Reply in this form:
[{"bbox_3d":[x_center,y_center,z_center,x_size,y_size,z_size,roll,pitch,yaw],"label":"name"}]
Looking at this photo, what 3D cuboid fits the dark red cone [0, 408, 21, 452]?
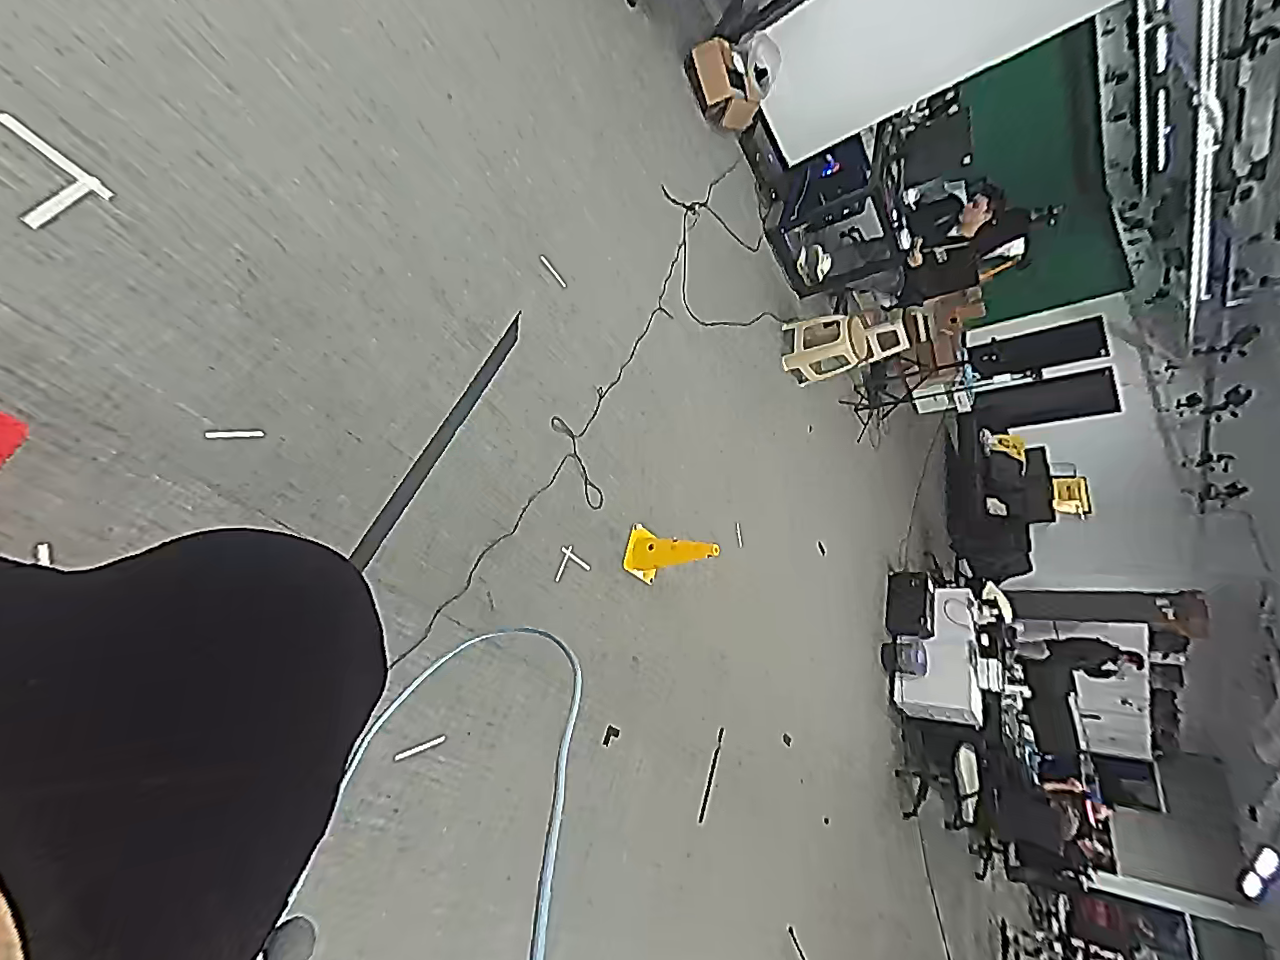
[{"bbox_3d":[-1.001,-0.082,0.719,0.201,0.394,0.202,40,54,-41],"label":"dark red cone"}]
